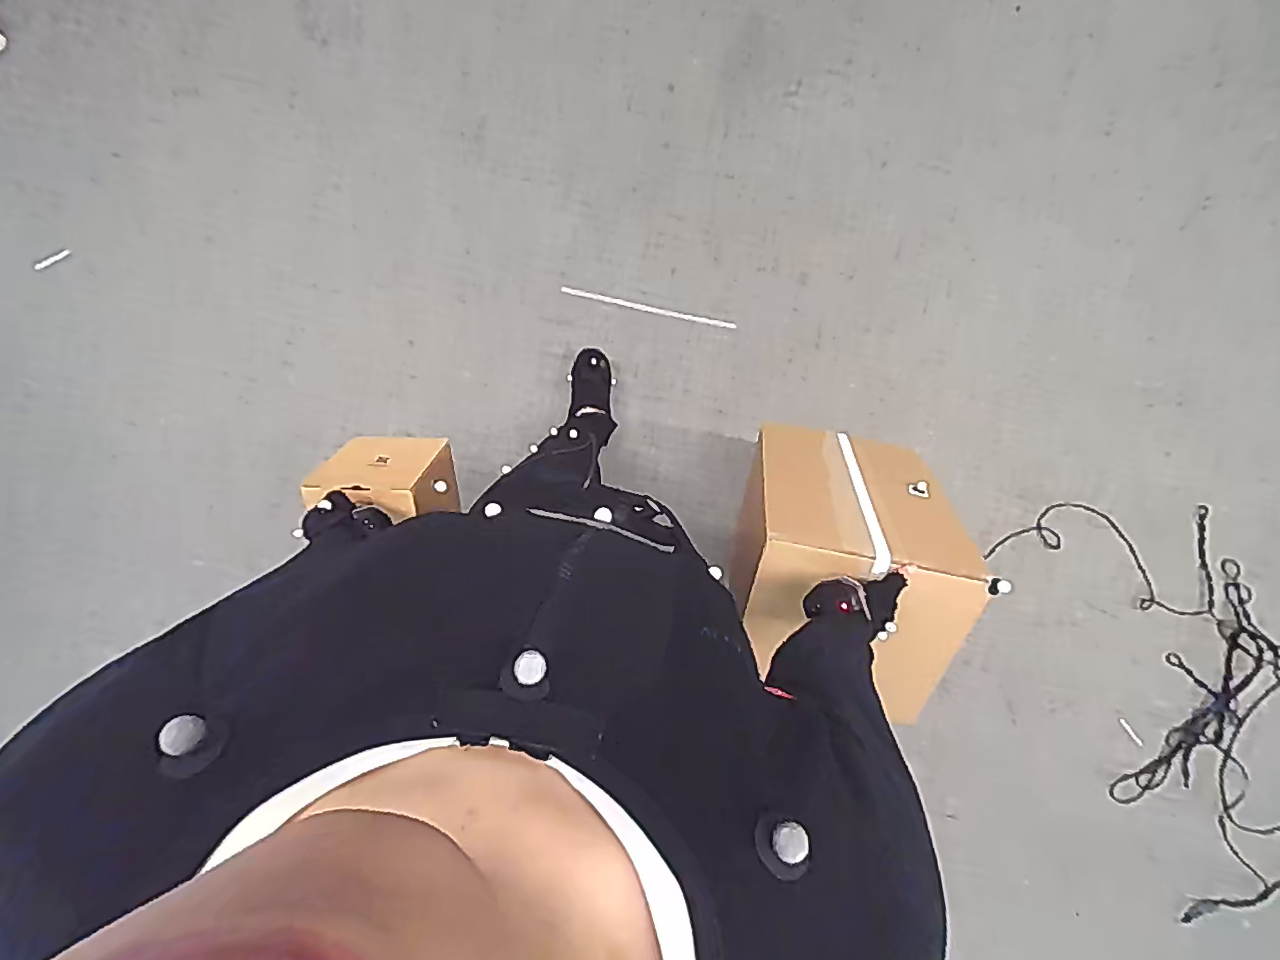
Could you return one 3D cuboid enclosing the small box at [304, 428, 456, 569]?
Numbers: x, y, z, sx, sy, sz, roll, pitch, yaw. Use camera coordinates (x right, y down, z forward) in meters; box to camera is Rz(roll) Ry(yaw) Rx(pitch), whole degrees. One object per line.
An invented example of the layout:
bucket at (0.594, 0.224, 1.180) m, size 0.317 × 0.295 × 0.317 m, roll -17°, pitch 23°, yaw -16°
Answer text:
small box at (-0.418, 0.027, 0.907) m, size 0.168 × 0.179 × 0.176 m, roll 2°, pitch 120°, yaw 0°
